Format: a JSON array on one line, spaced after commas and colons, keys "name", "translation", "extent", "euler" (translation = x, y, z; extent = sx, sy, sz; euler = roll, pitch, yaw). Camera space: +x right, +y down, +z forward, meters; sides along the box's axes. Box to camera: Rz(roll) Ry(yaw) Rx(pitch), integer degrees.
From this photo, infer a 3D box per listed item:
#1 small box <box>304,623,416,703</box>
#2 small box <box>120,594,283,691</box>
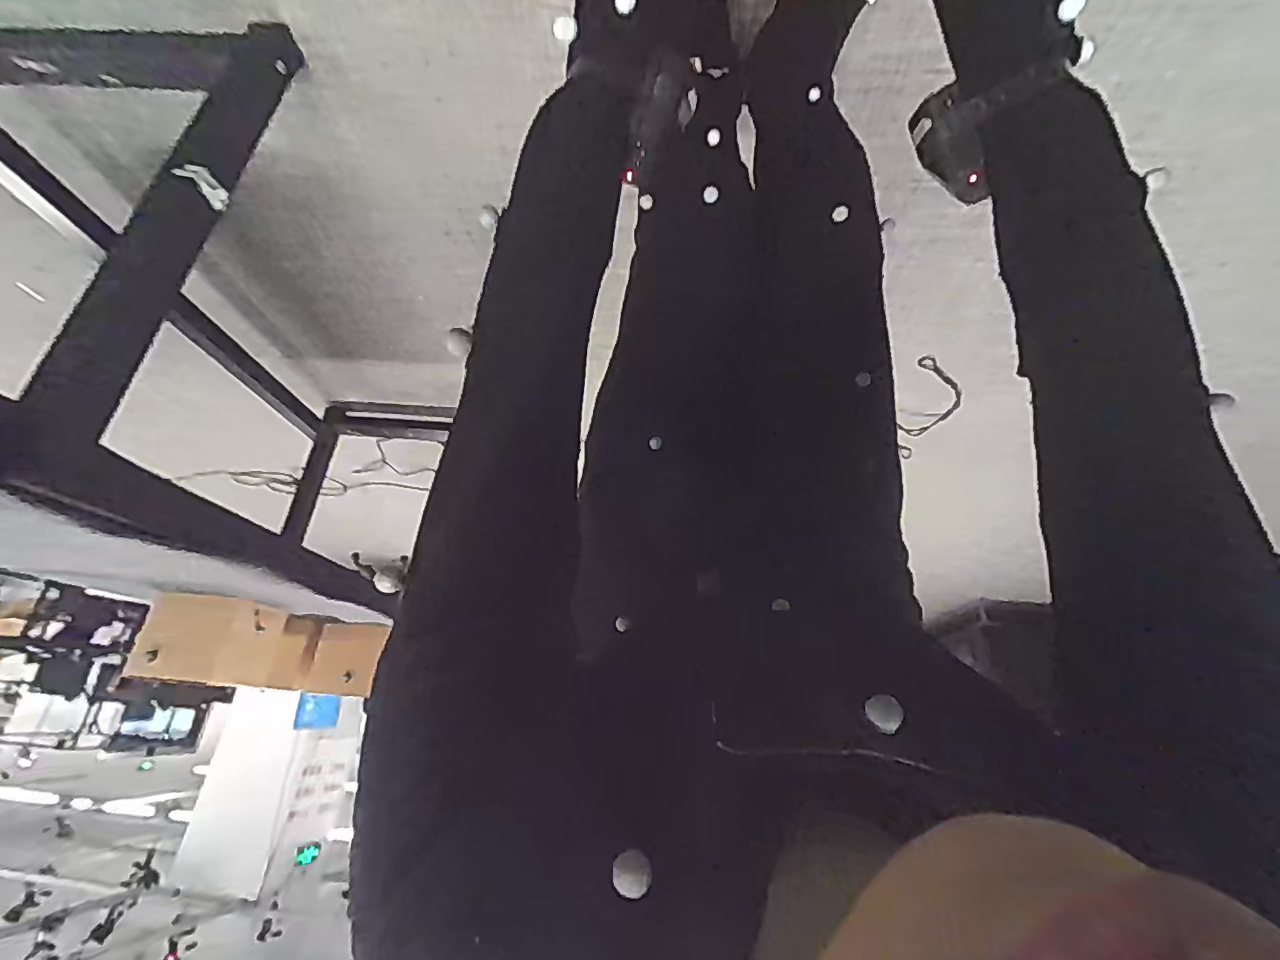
[{"name": "small box", "translation": [-0.695, 0.461, 1.362], "extent": [0.179, 0.176, 0.168], "euler": [3, 156, 2]}, {"name": "small box", "translation": [-0.893, 0.337, 1.123], "extent": [0.179, 0.176, 0.168], "euler": [4, 157, 2]}]
